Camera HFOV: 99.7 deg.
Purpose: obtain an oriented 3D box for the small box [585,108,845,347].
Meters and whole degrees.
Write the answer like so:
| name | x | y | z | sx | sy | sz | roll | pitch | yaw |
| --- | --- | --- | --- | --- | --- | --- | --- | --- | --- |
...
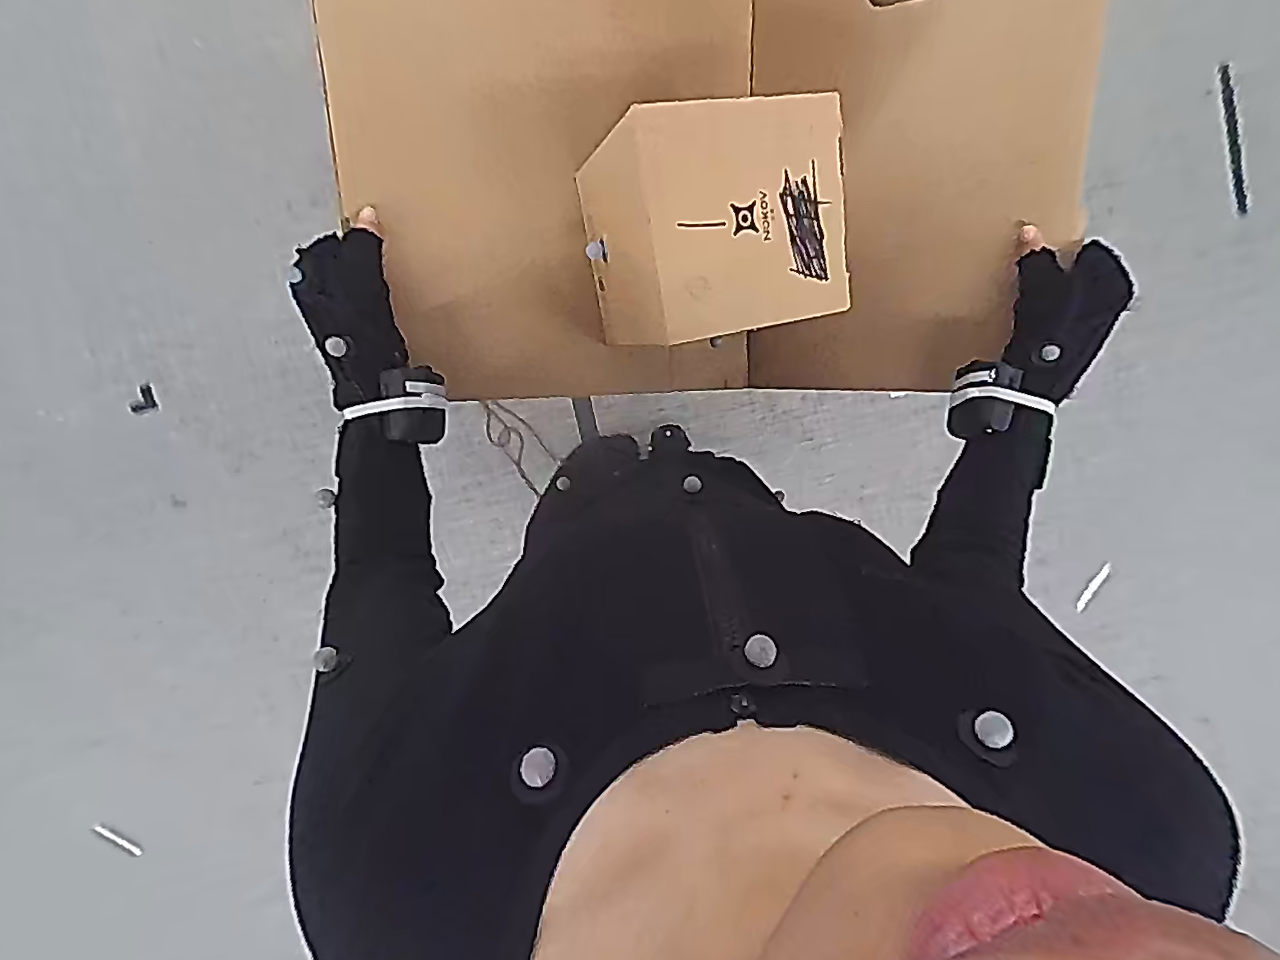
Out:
| name | x | y | z | sx | sy | sz | roll | pitch | yaw |
| --- | --- | --- | --- | --- | --- | --- | --- | --- | --- |
| small box | 0.063 | -0.221 | 0.504 | 0.179 | 0.176 | 0.168 | -14 | 107 | -16 |
